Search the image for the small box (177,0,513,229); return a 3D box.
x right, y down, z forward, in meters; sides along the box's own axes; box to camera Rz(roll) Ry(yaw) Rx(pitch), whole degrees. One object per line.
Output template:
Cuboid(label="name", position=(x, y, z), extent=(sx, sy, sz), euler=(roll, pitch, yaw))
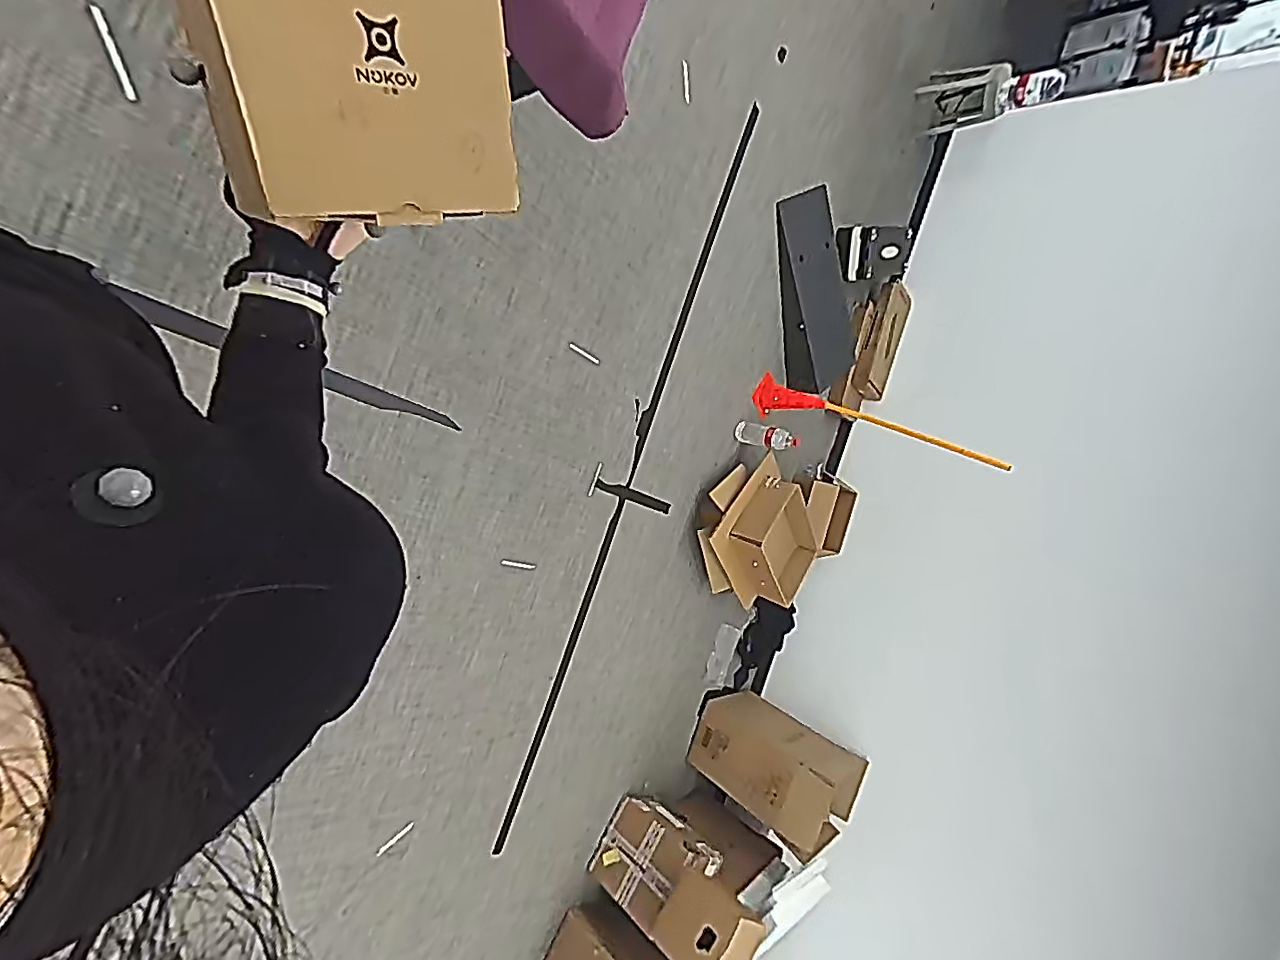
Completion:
Cuboid(label="small box", position=(-0.210, -0.285, 0.390), extent=(0.168, 0.176, 0.179), euler=(-21, 125, -34))
